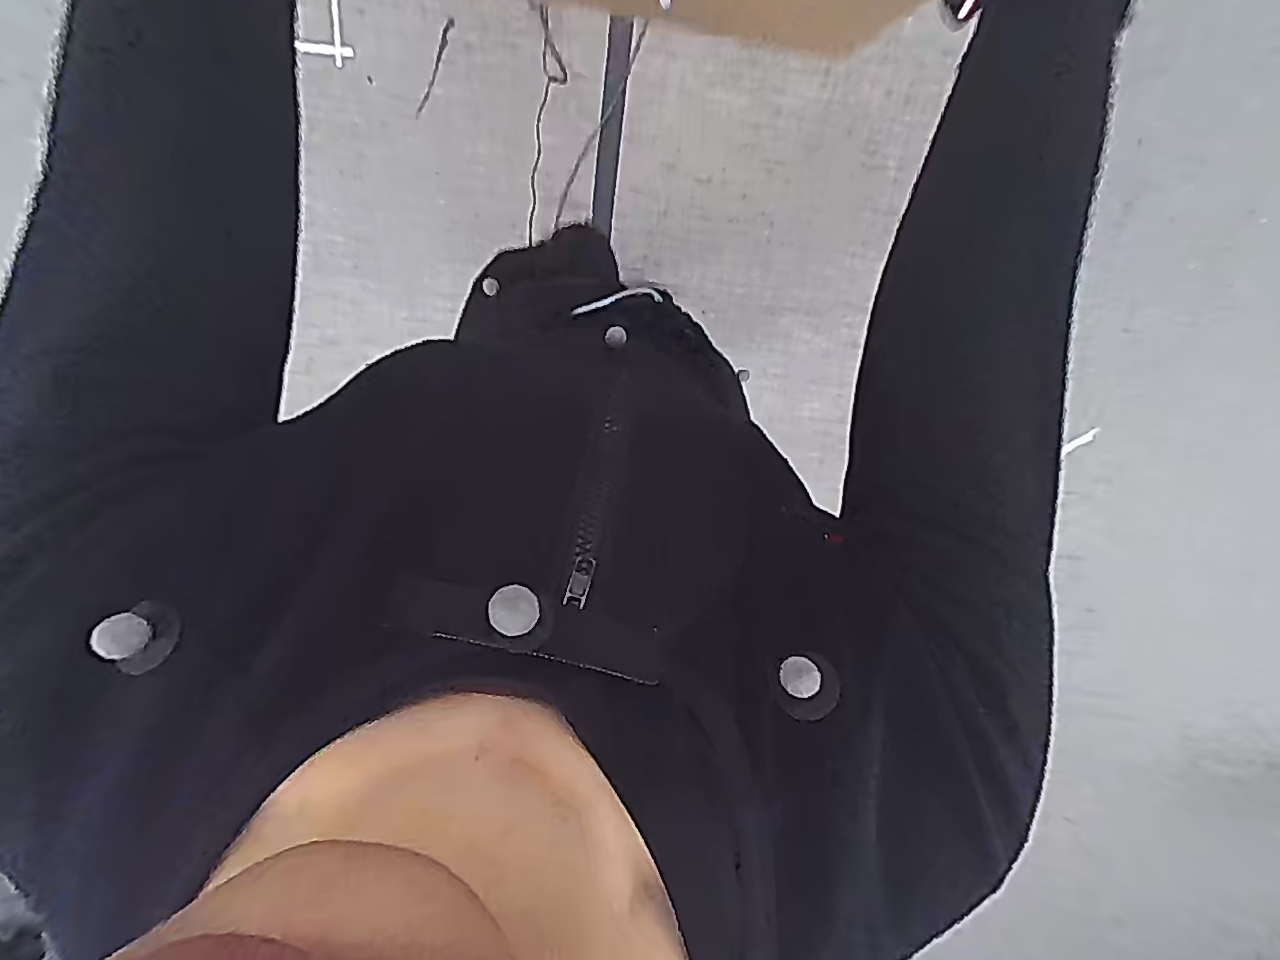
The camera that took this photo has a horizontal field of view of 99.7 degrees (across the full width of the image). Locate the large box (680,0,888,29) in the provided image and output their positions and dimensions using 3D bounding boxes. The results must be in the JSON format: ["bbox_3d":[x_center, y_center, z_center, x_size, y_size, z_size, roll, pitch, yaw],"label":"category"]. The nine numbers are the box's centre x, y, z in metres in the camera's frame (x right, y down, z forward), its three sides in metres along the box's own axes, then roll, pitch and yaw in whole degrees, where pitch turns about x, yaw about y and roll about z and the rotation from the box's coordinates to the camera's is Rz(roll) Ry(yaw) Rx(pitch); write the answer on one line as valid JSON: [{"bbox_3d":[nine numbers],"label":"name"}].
[{"bbox_3d":[0.052,-0.568,0.371,0.408,0.320,0.320,9,117,-3],"label":"large box"}]
